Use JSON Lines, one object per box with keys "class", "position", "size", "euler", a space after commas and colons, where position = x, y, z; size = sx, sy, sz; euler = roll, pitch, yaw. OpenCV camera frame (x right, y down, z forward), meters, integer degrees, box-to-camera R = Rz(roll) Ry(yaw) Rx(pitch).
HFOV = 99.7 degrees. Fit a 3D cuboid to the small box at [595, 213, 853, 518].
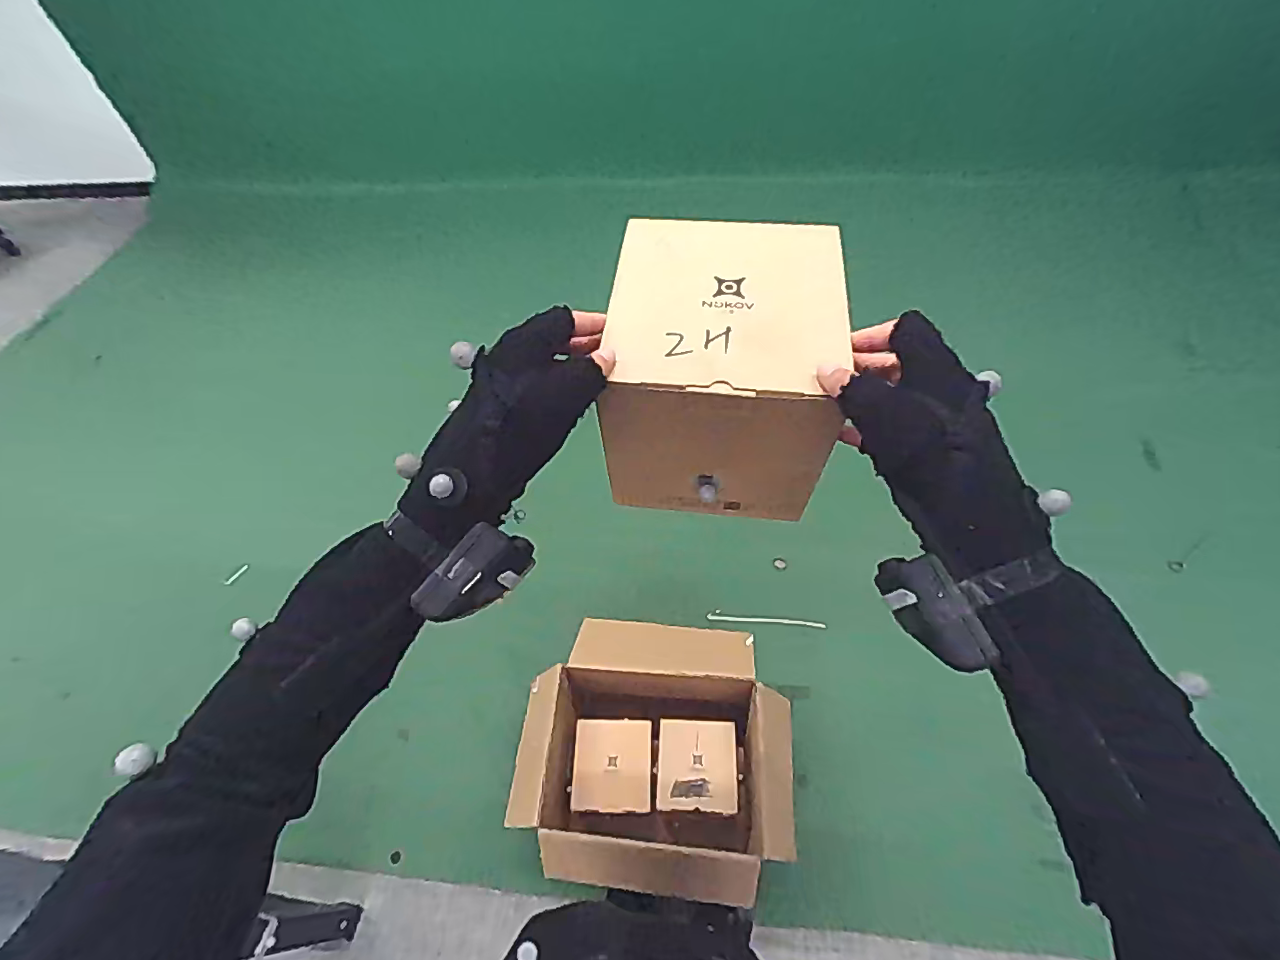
{"class": "small box", "position": [0.065, -0.090, 0.450], "size": [0.168, 0.176, 0.179], "euler": [6, 59, 6]}
